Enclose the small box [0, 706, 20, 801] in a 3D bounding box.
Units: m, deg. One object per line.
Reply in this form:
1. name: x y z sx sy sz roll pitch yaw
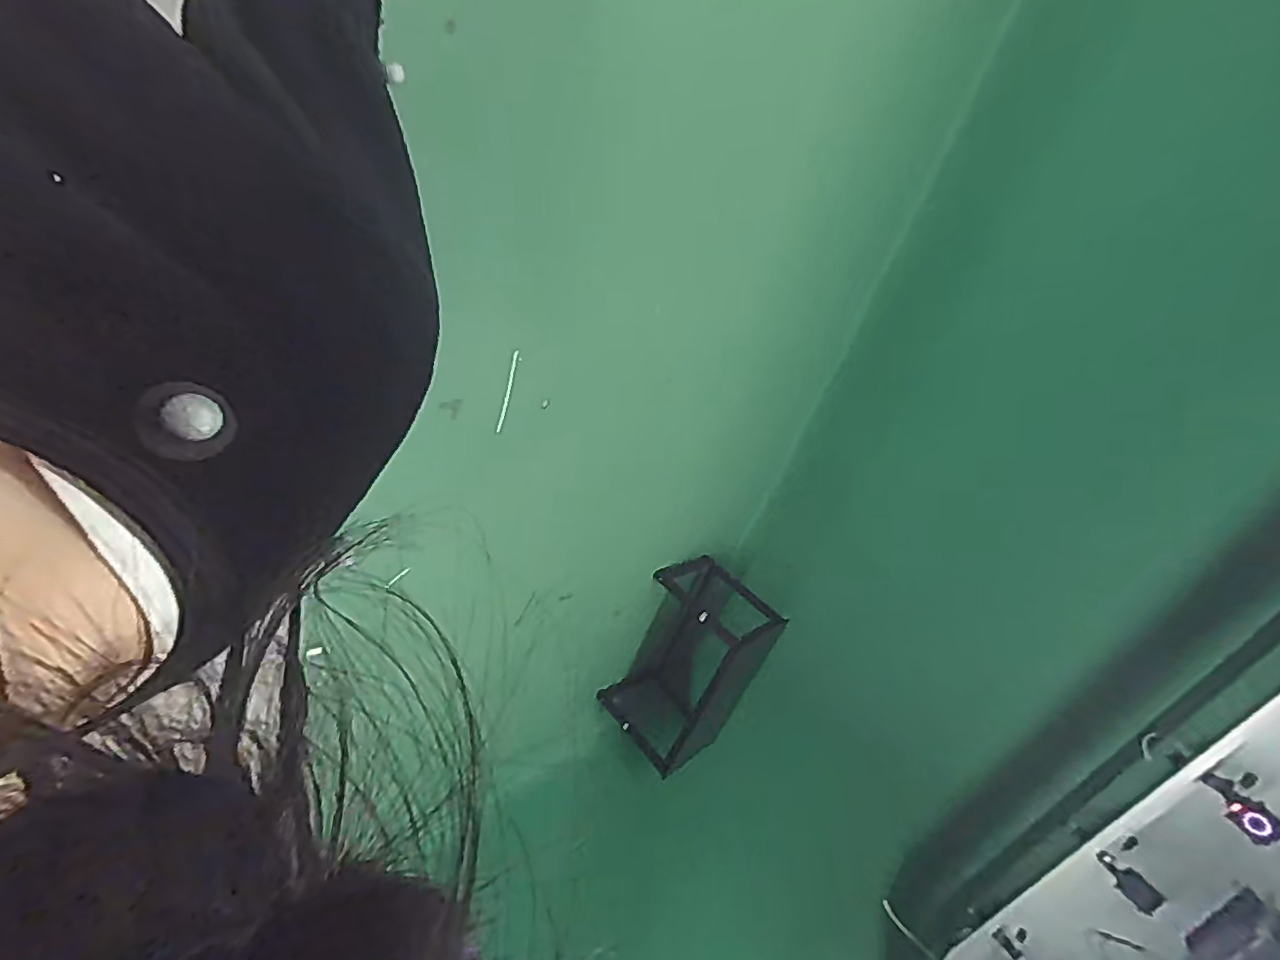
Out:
1. small box: -1.619 0.672 1.294 0.168 0.176 0.179 -4 125 -49
